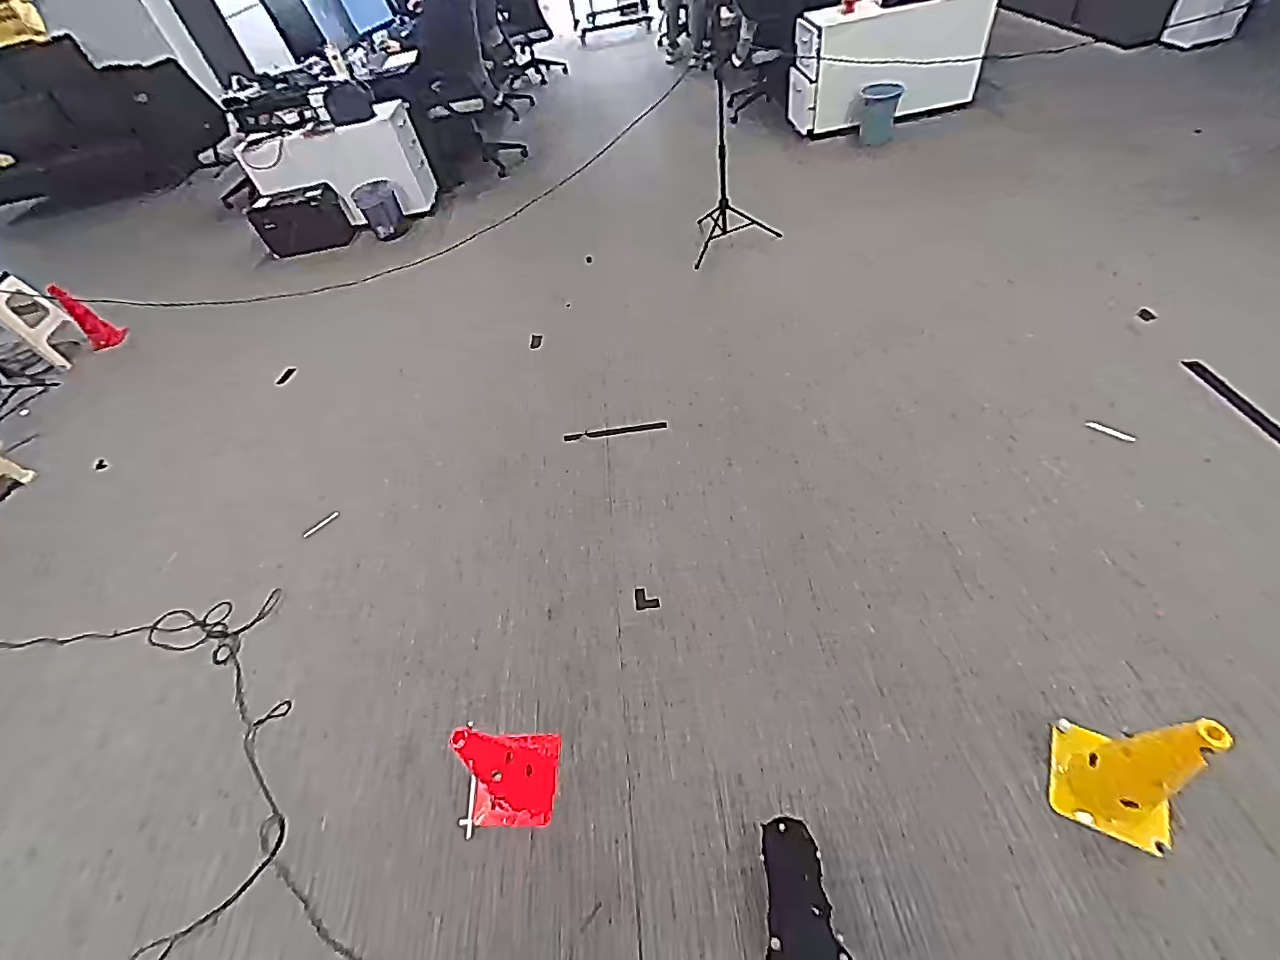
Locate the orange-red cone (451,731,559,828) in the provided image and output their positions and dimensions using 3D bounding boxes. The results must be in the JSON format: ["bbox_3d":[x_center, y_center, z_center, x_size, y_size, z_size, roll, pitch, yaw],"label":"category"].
[{"bbox_3d":[-0.326,0.620,1.189,0.199,0.360,0.198,-2,50,8],"label":"orange-red cone"}]
